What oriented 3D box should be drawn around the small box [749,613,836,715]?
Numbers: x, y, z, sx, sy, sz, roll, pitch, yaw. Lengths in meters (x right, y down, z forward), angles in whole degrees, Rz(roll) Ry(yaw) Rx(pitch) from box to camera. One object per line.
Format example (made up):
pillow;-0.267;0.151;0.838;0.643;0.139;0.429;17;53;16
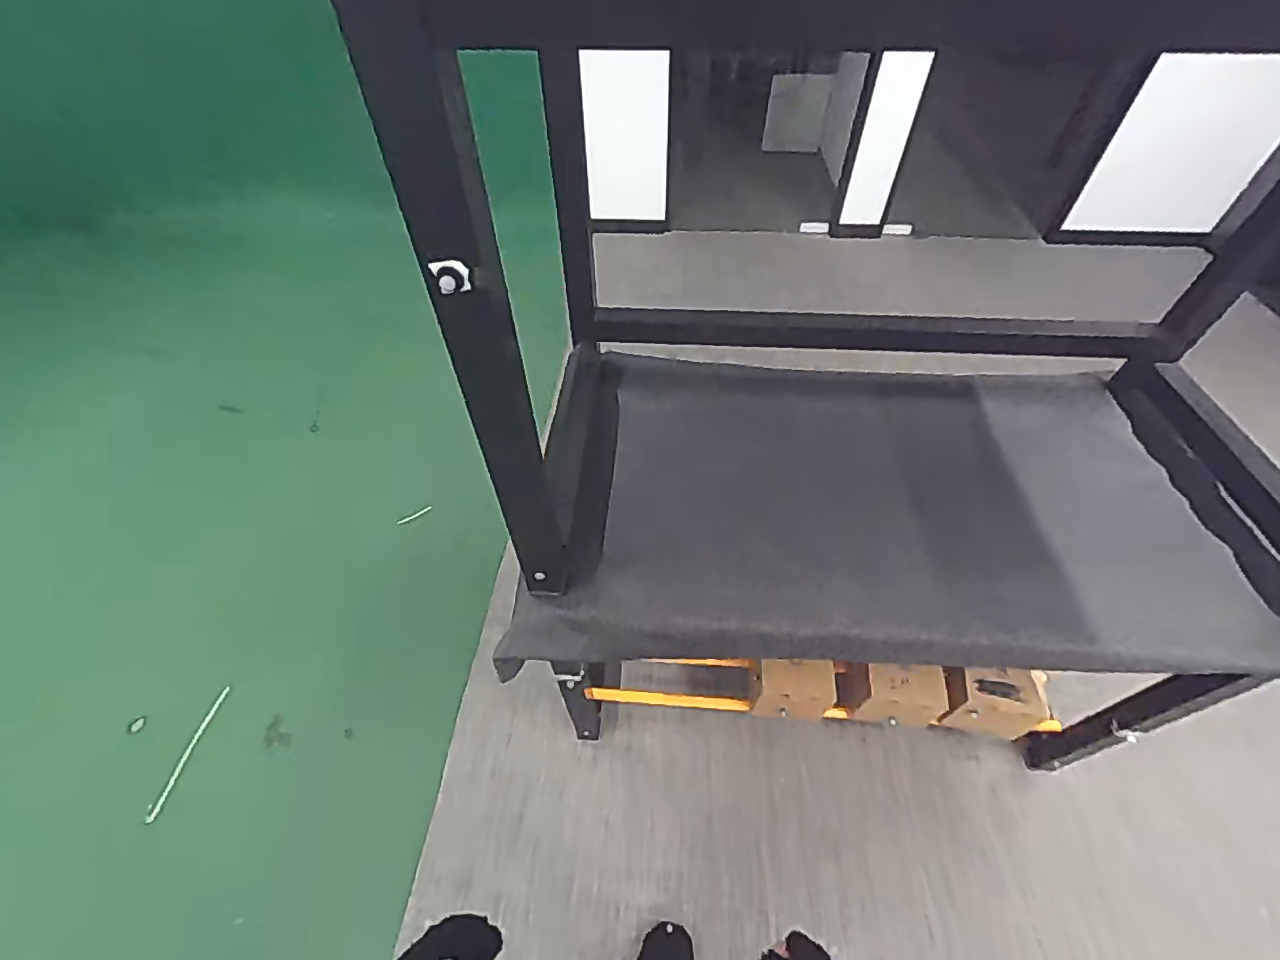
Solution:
small box;0.357;0.443;1.298;0.168;0.176;0.179;4;53;4
